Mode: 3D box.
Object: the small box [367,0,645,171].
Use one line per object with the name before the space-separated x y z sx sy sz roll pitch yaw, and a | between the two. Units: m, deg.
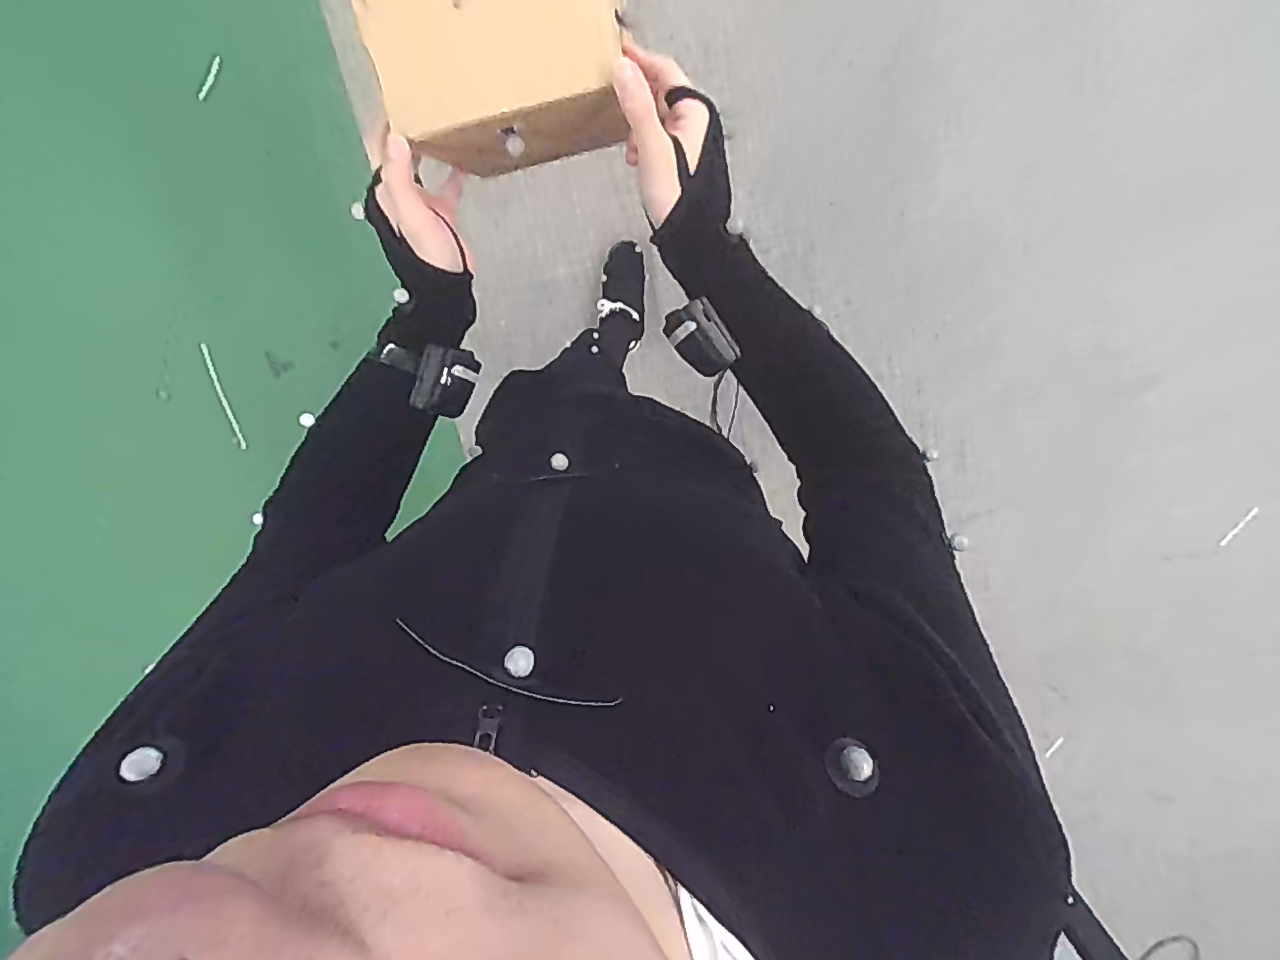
small box | -0.095 -0.370 0.436 0.179 0.176 0.168 -7 108 11
